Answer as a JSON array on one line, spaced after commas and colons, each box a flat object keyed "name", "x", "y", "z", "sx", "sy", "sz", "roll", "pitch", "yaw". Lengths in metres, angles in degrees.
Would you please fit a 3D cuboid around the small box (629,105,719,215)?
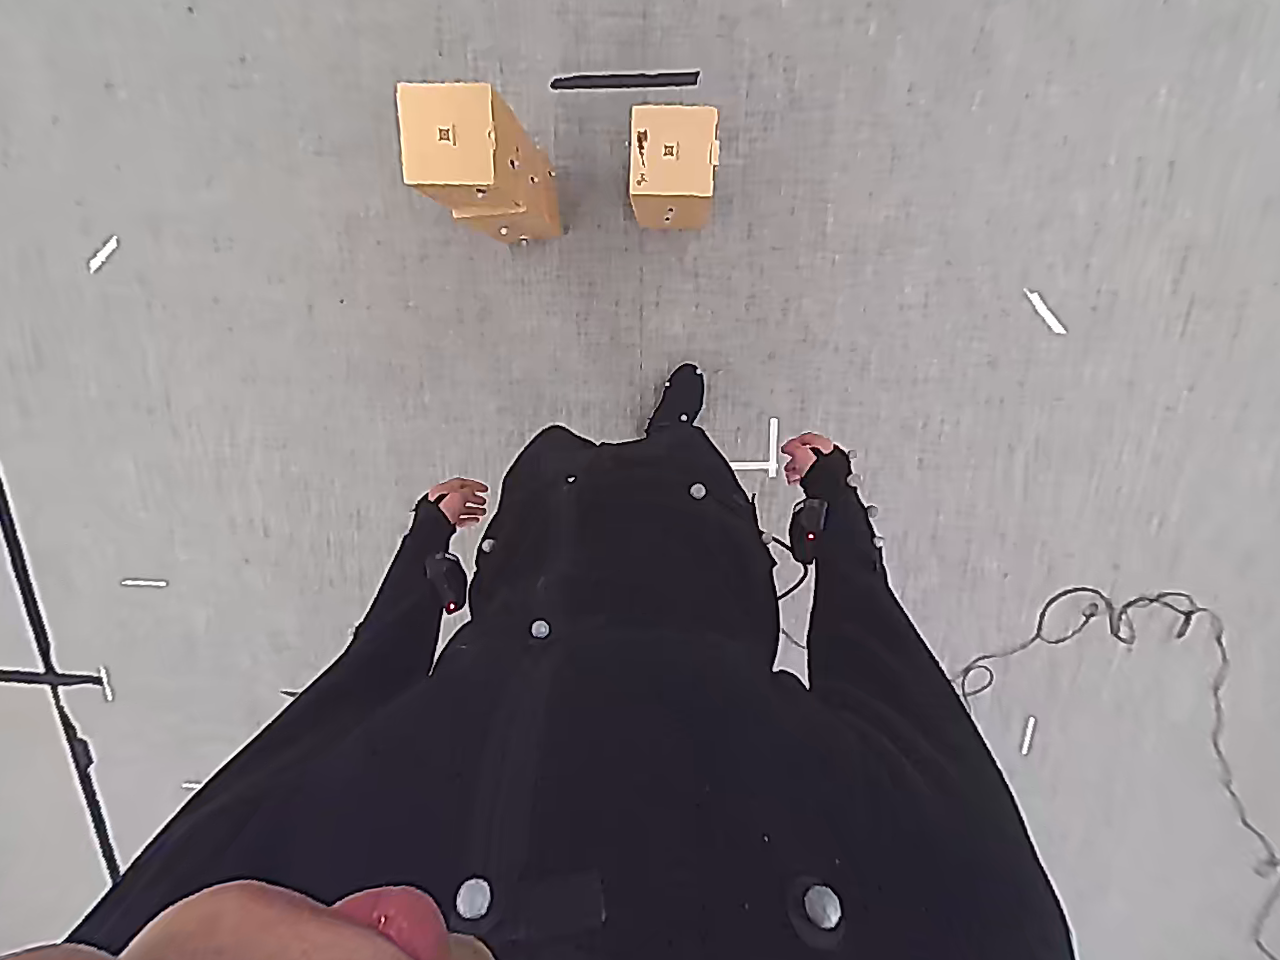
[{"name": "small box", "x": 0.069, "y": -0.689, "z": 1.181, "sx": 0.179, "sy": 0.176, "sz": 0.168, "roll": 3, "pitch": 104, "yaw": 1}]

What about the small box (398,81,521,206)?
[{"name": "small box", "x": -0.340, "y": -0.641, "z": 1.048, "sx": 0.179, "sy": 0.176, "sz": 0.168, "roll": 3, "pitch": 104, "yaw": 3}]

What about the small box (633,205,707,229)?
[{"name": "small box", "x": 0.078, "y": -0.729, "z": 1.340, "sx": 0.179, "sy": 0.176, "sz": 0.168, "roll": 2, "pitch": 105, "yaw": 2}]

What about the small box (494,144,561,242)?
[{"name": "small box", "x": -0.302, "y": -0.715, "z": 1.364, "sx": 0.168, "sy": 0.176, "sz": 0.179, "roll": -4, "pitch": 104, "yaw": 5}]

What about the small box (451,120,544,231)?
[{"name": "small box", "x": -0.319, "y": -0.670, "z": 1.208, "sx": 0.168, "sy": 0.176, "sz": 0.179, "roll": -2, "pitch": 105, "yaw": 5}]
